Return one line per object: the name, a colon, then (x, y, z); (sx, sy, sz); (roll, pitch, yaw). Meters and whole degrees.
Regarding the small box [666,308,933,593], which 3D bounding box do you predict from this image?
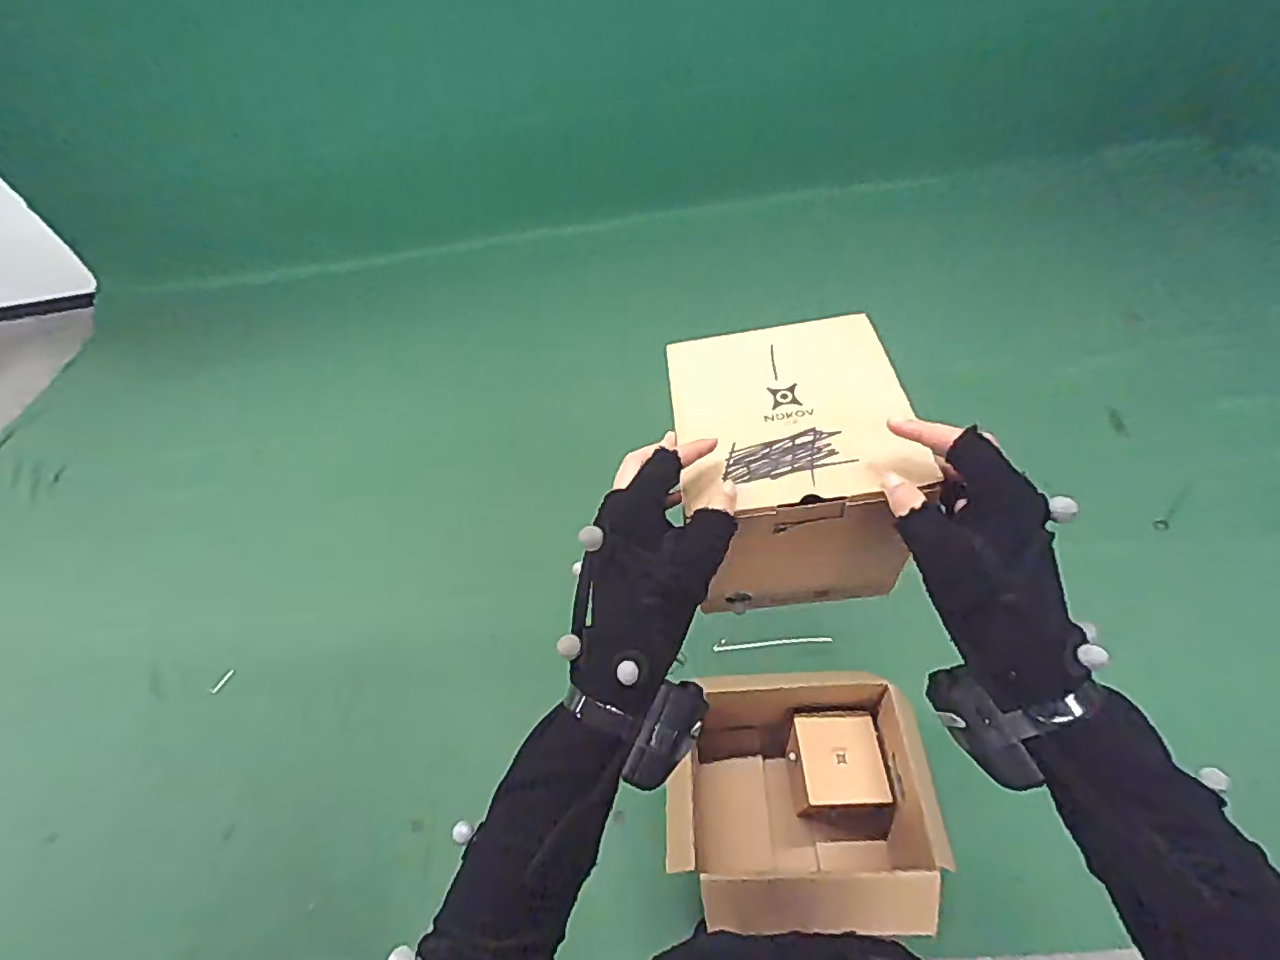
small box: (0.118, -0.013, 0.462); (0.168, 0.176, 0.179); (-7, 54, 6)
